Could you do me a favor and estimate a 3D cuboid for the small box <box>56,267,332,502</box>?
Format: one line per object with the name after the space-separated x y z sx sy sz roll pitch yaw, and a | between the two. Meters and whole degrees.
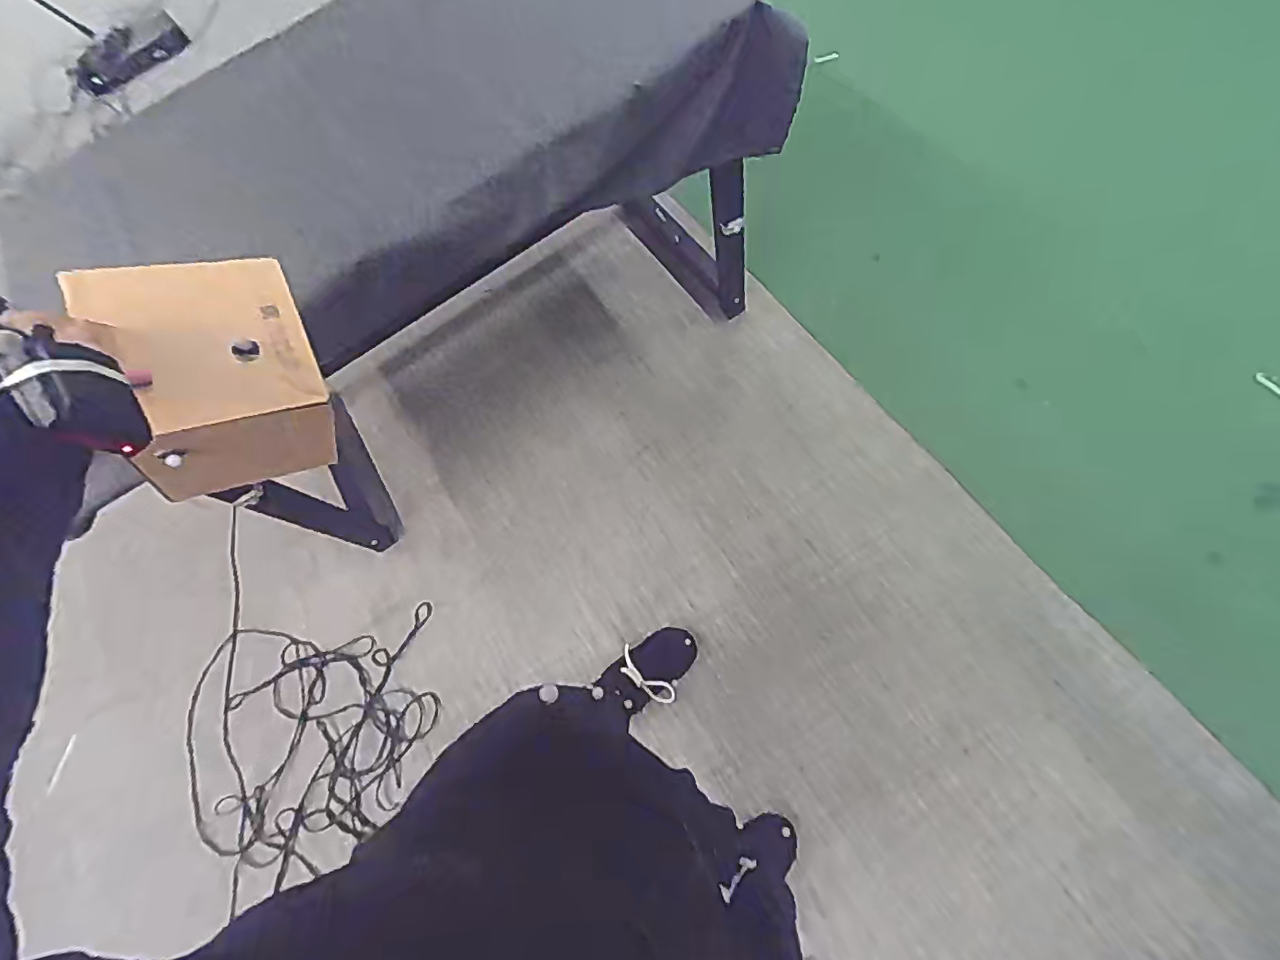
-0.436 -0.096 0.562 0.176 0.179 0.168 -20 81 -32 | small box
